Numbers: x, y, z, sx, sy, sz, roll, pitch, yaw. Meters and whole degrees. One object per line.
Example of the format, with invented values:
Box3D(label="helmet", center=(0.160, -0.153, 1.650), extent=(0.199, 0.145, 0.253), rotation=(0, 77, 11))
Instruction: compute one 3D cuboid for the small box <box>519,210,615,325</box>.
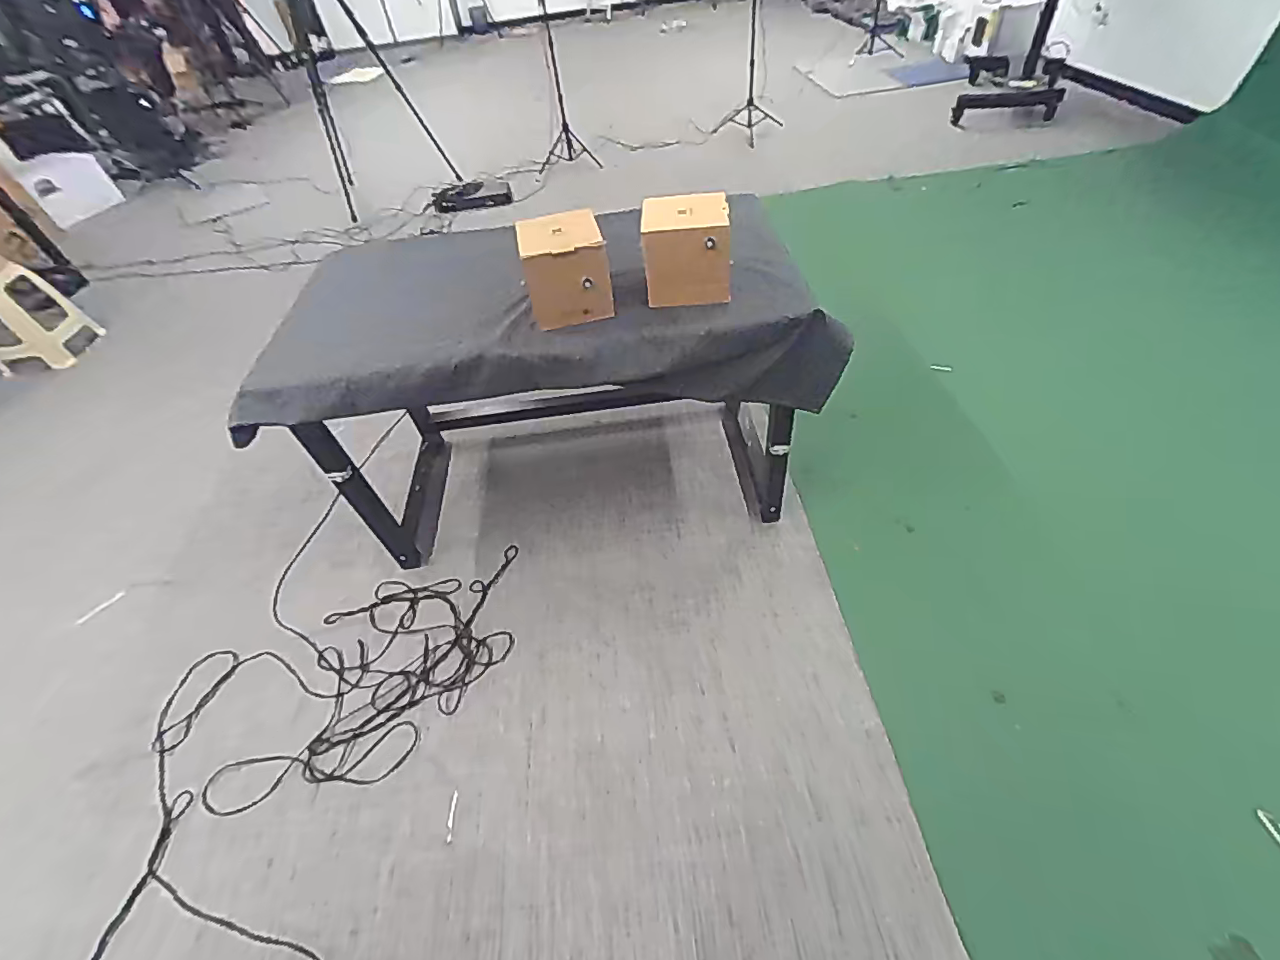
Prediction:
Box3D(label="small box", center=(-0.153, -0.445, 1.150), extent=(0.168, 0.176, 0.179), rotation=(-12, 47, -5))

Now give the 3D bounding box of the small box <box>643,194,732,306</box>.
Box3D(label="small box", center=(0.104, -0.486, 1.153), extent=(0.179, 0.176, 0.168), rotation=(-2, 48, 6))
